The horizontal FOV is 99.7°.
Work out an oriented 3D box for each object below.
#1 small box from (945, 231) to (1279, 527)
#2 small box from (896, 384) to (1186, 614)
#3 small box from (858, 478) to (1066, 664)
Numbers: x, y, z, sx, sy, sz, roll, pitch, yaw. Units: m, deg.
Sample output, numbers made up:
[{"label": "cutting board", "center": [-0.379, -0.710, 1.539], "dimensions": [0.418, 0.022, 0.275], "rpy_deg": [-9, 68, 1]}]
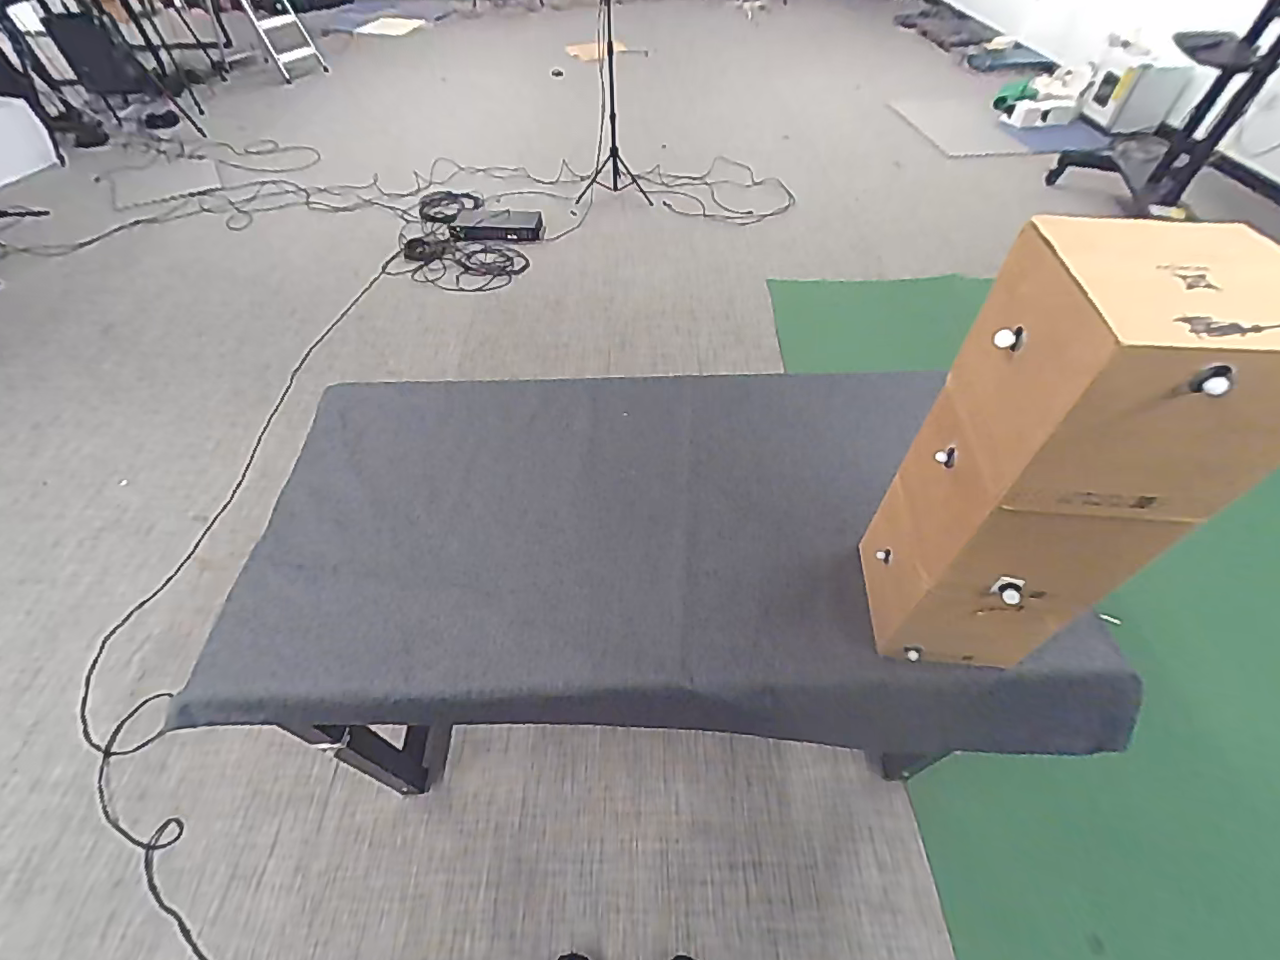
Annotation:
[{"label": "small box", "center": [0.385, -0.085, 0.452], "dimensions": [0.168, 0.176, 0.179], "rpy_deg": [4, 49, 6]}, {"label": "small box", "center": [0.394, 0.020, 0.578], "dimensions": [0.168, 0.176, 0.179], "rpy_deg": [4, 51, 6]}, {"label": "small box", "center": [0.399, 0.121, 0.704], "dimensions": [0.168, 0.176, 0.179], "rpy_deg": [5, 49, 5]}]
